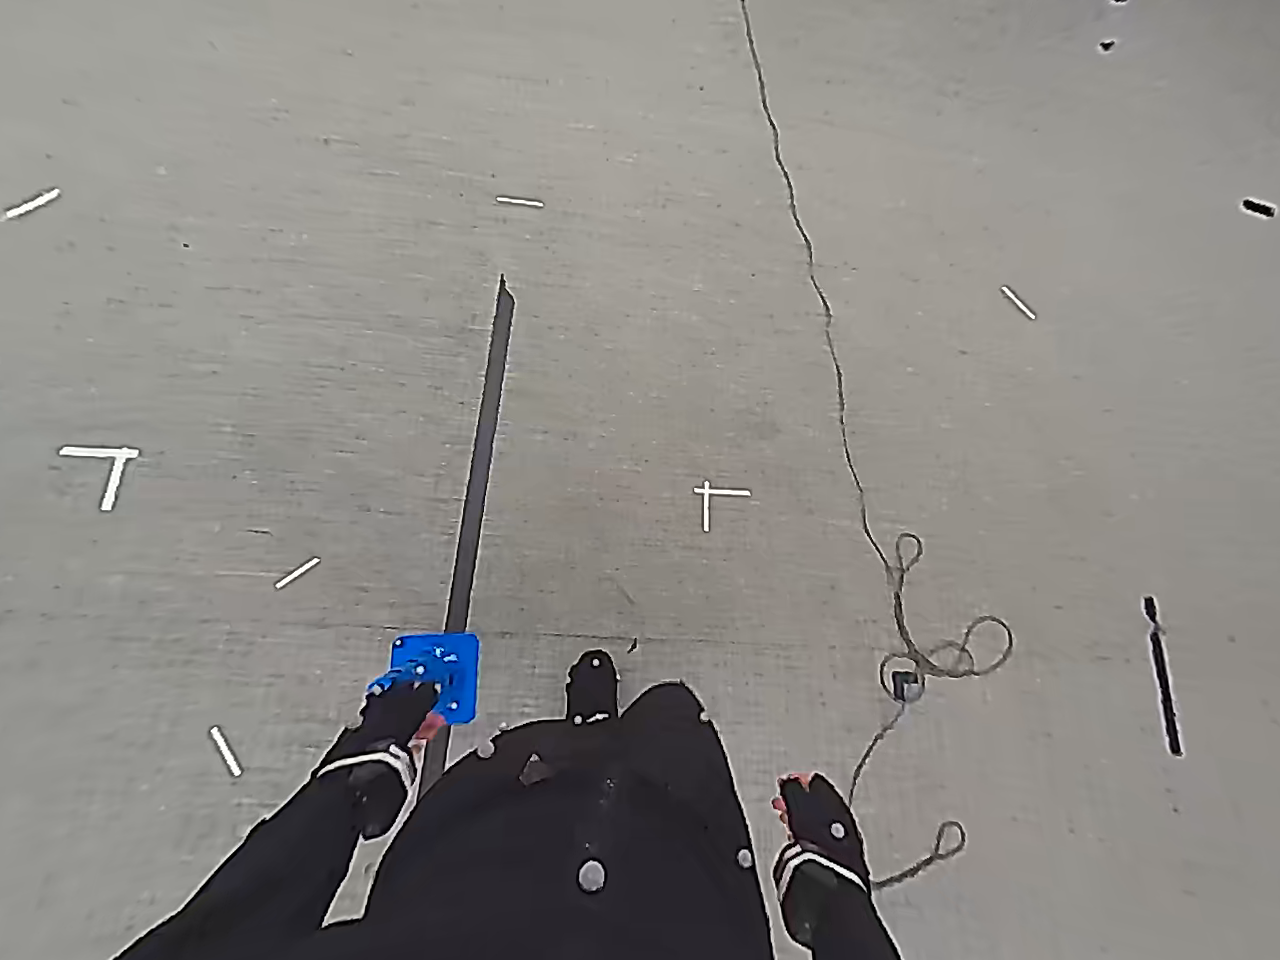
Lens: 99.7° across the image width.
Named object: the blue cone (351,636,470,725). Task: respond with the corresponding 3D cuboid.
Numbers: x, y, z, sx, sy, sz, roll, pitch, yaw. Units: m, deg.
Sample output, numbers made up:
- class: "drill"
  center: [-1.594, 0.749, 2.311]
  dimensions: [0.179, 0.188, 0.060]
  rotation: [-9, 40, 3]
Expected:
- class: "blue cone"
  center: [-0.480, 0.415, 1.098]
  dimensions: [0.192, 0.380, 0.193]
  rotation: [2, 73, -5]
